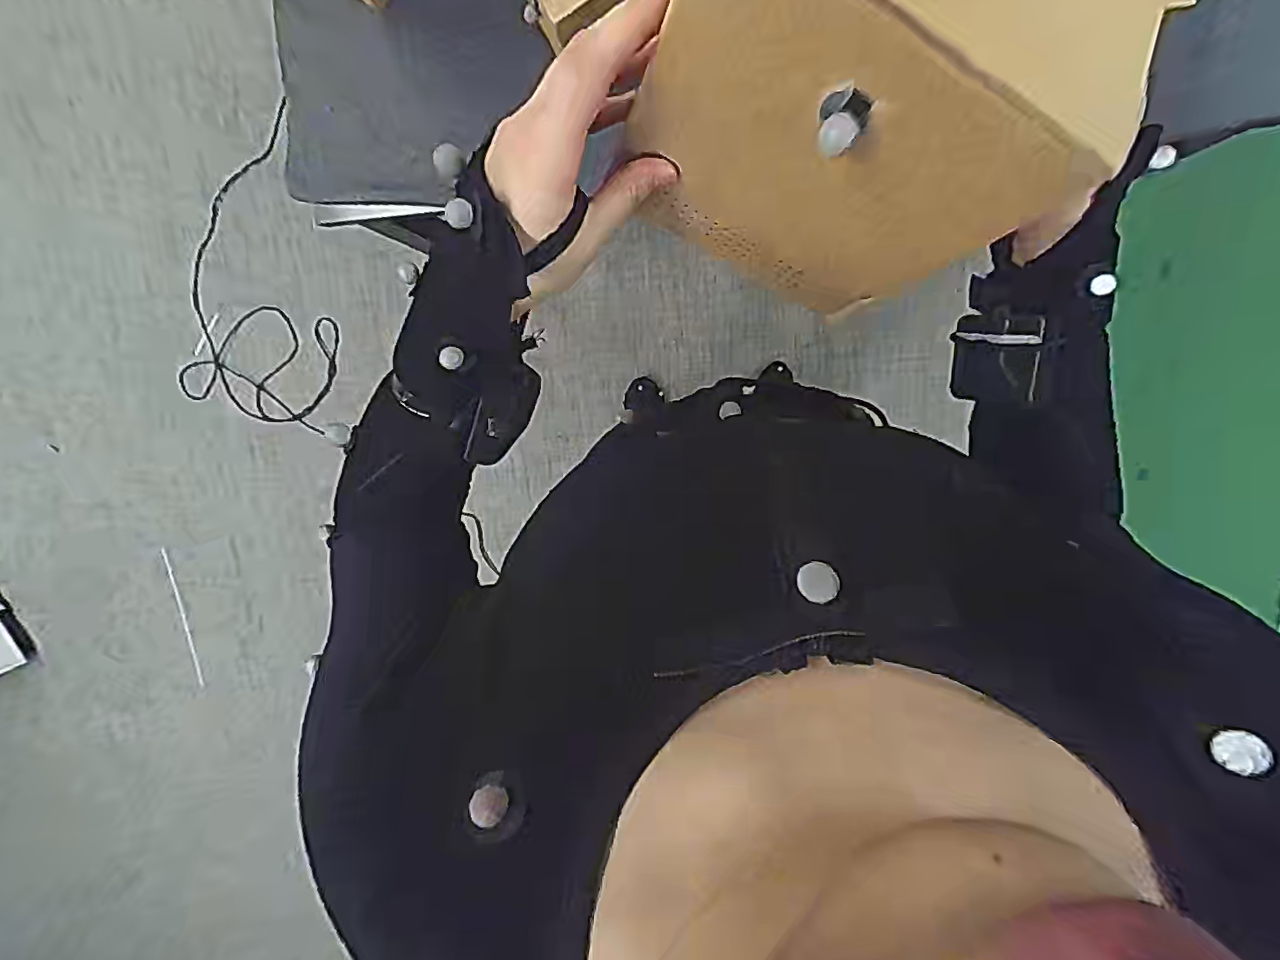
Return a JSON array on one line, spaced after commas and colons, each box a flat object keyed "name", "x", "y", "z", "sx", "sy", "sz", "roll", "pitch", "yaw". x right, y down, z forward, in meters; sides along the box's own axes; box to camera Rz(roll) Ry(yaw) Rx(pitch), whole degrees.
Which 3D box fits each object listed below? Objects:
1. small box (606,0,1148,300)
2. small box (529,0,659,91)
[{"name": "small box", "x": 0.102, "y": -0.214, "z": 0.273, "sx": 0.179, "sy": 0.176, "sz": 0.168, "roll": 24, "pitch": 84, "yaw": -13}, {"name": "small box", "x": -0.045, "y": -0.555, "z": 0.565, "sx": 0.168, "sy": 0.176, "sz": 0.179, "roll": -28, "pitch": 97, "yaw": 9}]
